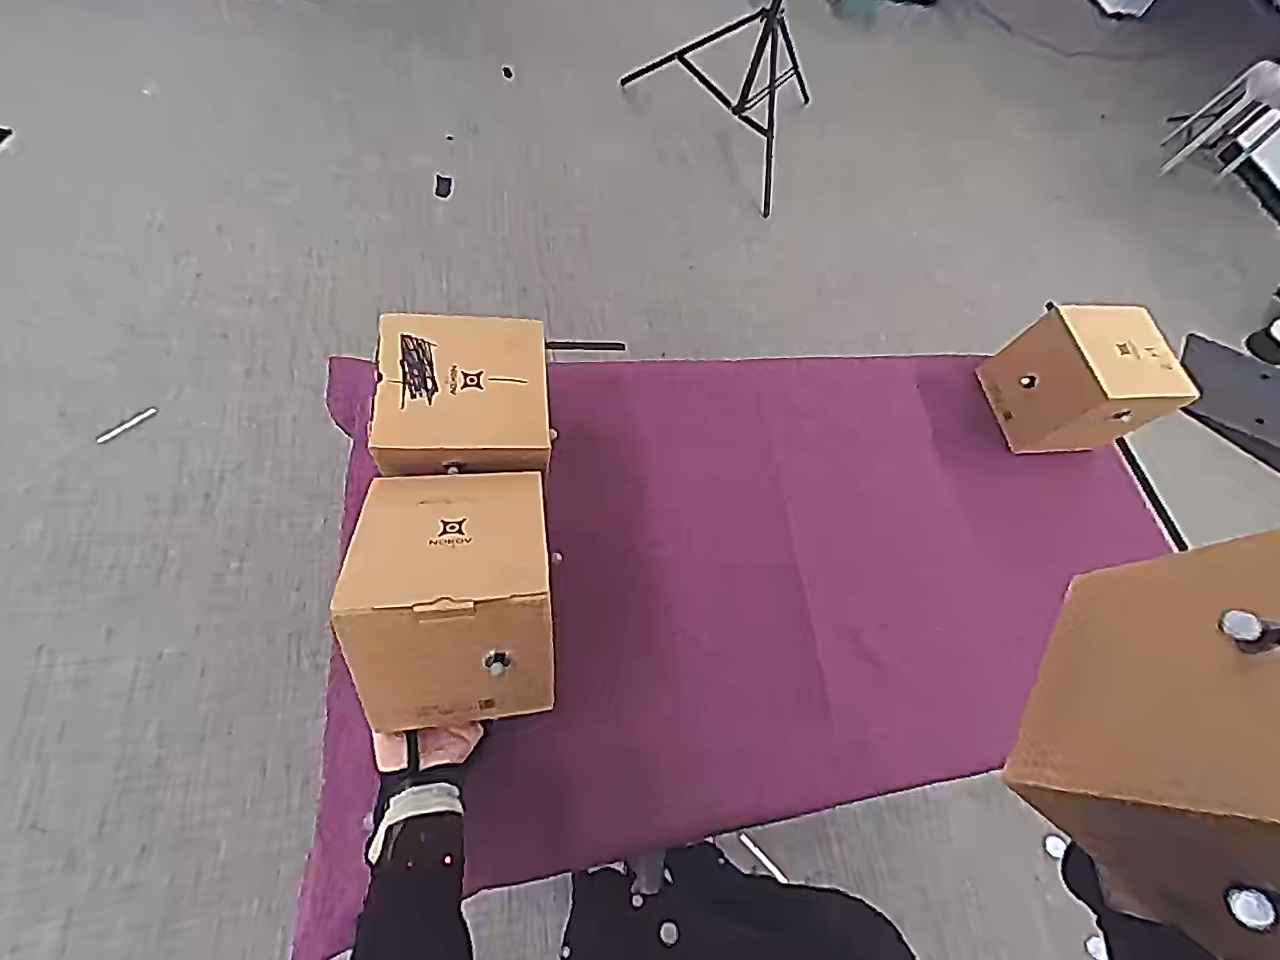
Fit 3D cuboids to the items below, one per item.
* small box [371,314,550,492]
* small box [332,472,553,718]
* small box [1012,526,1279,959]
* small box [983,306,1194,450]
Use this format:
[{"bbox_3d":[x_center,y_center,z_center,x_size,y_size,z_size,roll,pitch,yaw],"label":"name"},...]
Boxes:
[{"bbox_3d":[-0.200,-0.074,0.643,0.179,0.176,0.168,-1,68,-14],"label":"small box"},{"bbox_3d":[-0.174,0.111,0.530,0.168,0.176,0.179,-3,35,-12],"label":"small box"},{"bbox_3d":[0.354,0.153,0.298,0.168,0.176,0.179,39,64,6],"label":"small box"},{"bbox_3d":[0.692,-0.156,0.865,0.179,0.176,0.168,-3,67,-14],"label":"small box"}]
